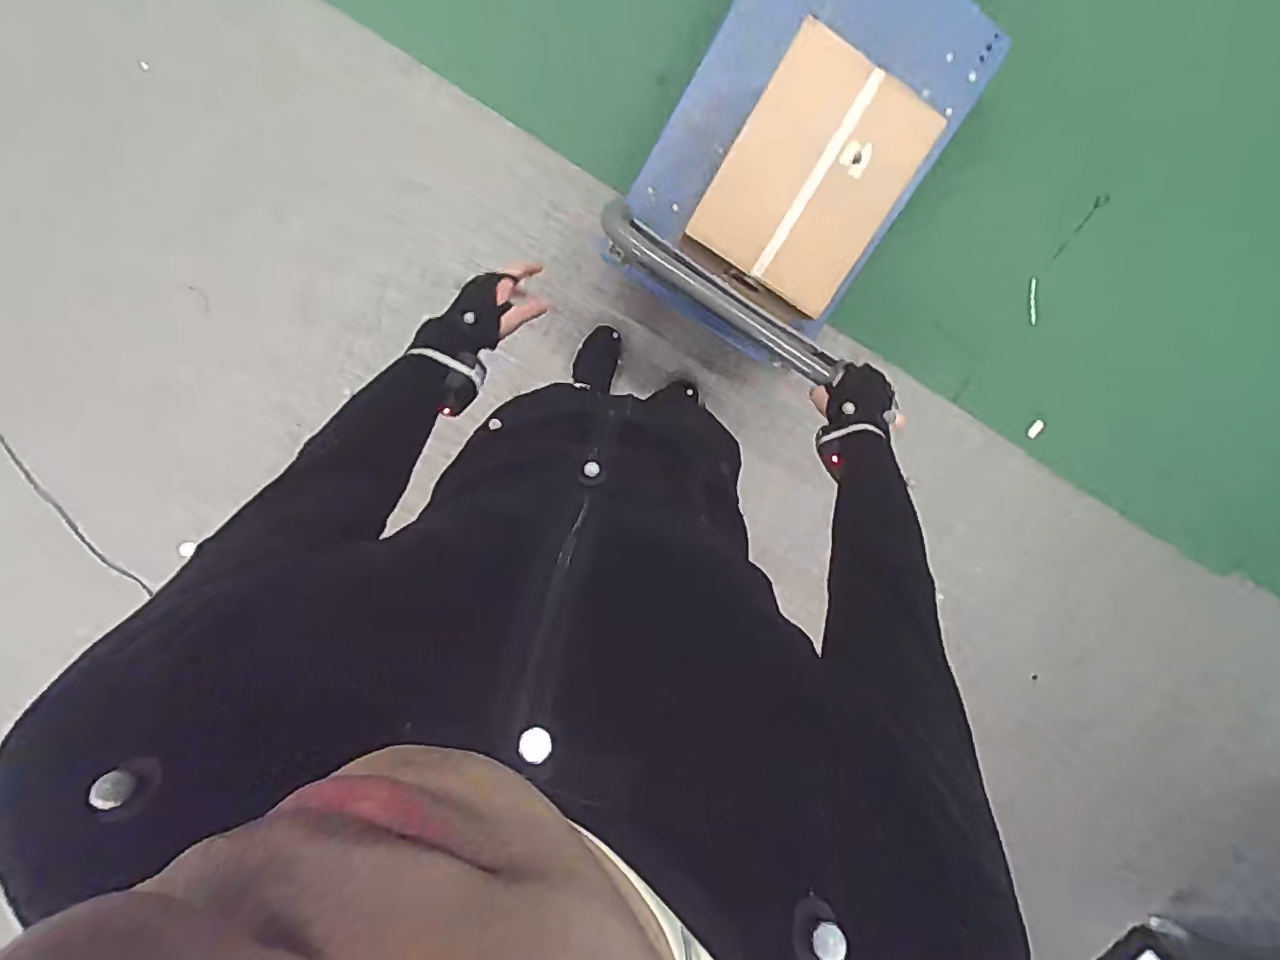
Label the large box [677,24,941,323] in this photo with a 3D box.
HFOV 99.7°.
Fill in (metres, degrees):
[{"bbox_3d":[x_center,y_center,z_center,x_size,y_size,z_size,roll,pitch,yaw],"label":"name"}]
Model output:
[{"bbox_3d":[0.315,-0.588,1.141,0.320,0.320,0.408,30,103,-10],"label":"large box"}]
